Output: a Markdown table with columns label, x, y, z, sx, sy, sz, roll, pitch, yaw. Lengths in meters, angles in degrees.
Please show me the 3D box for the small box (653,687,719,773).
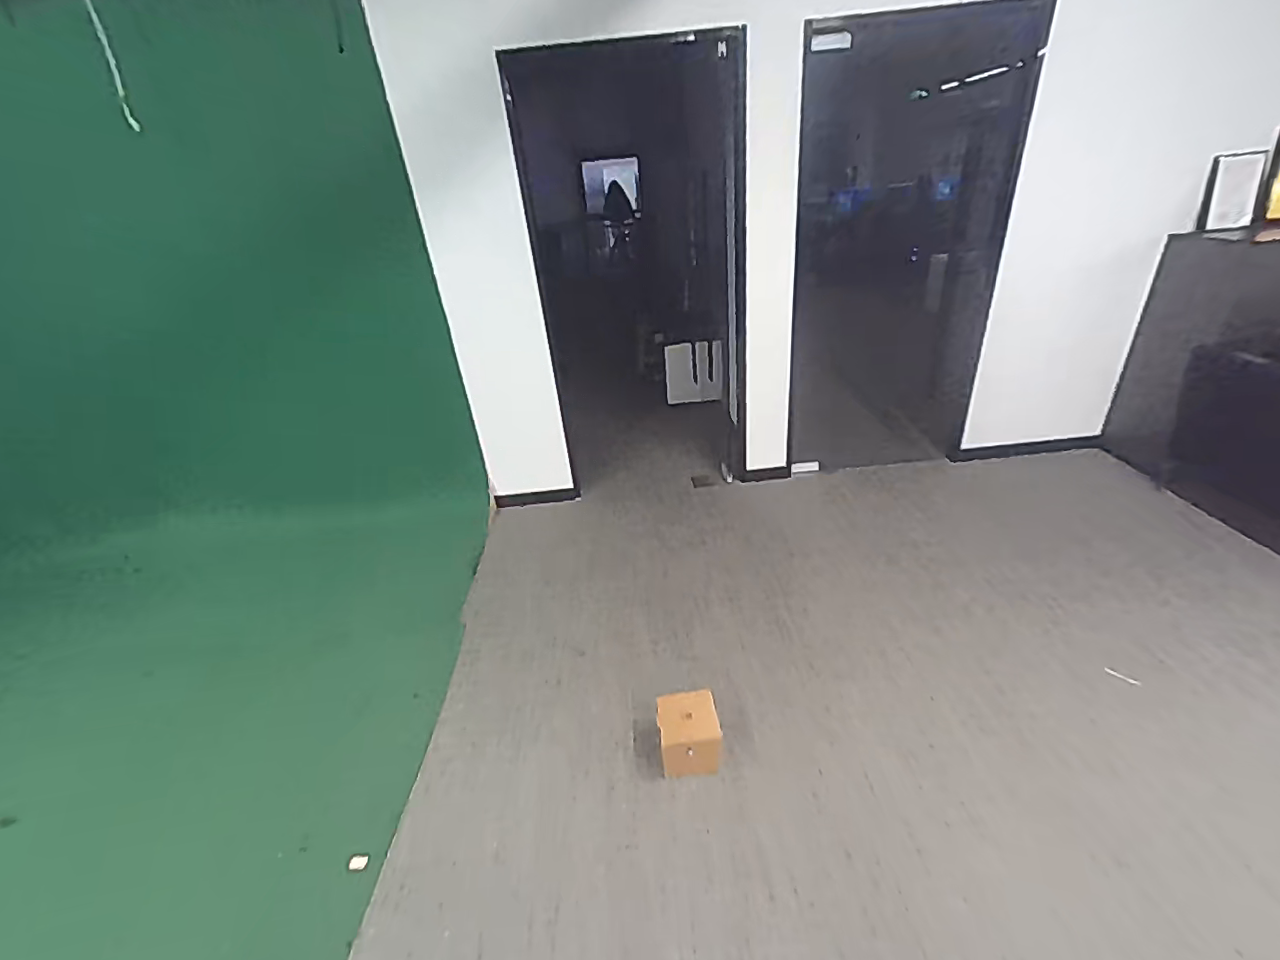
| label | x | y | z | sx | sy | sz | roll | pitch | yaw |
| --- | --- | --- | --- | --- | --- | --- | --- | --- | --- |
| small box | 0.138 | 0.758 | 1.638 | 0.179 | 0.176 | 0.168 | -8 | 30 | -1 |
